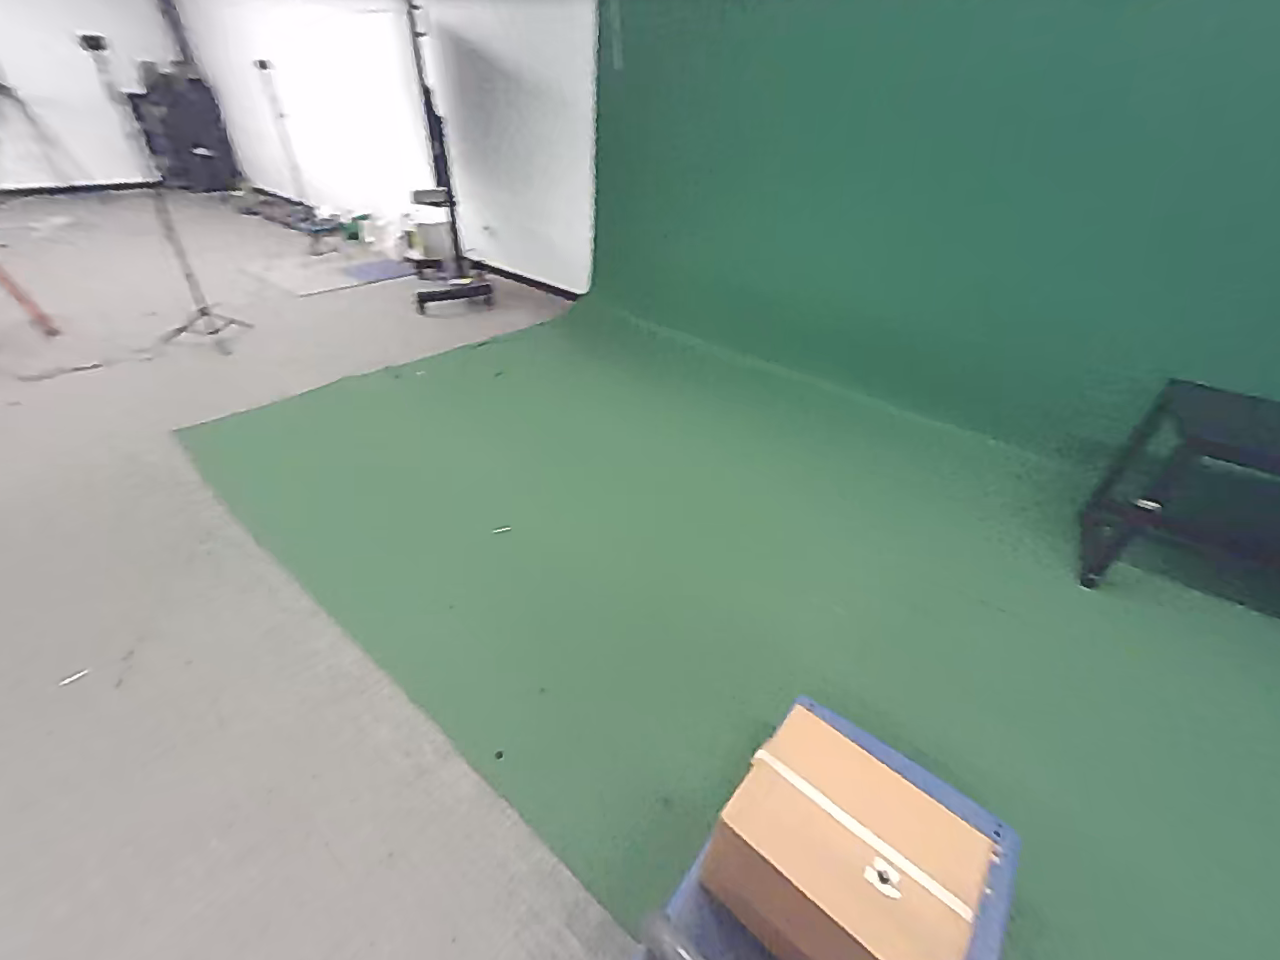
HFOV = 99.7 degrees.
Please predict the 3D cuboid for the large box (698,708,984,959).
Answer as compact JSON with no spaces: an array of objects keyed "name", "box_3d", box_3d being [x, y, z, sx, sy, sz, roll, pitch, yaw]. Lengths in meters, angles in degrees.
[{"name":"large box","box_3d":[0.382,0.767,1.093,0.408,0.320,0.320,30,43,30]}]
